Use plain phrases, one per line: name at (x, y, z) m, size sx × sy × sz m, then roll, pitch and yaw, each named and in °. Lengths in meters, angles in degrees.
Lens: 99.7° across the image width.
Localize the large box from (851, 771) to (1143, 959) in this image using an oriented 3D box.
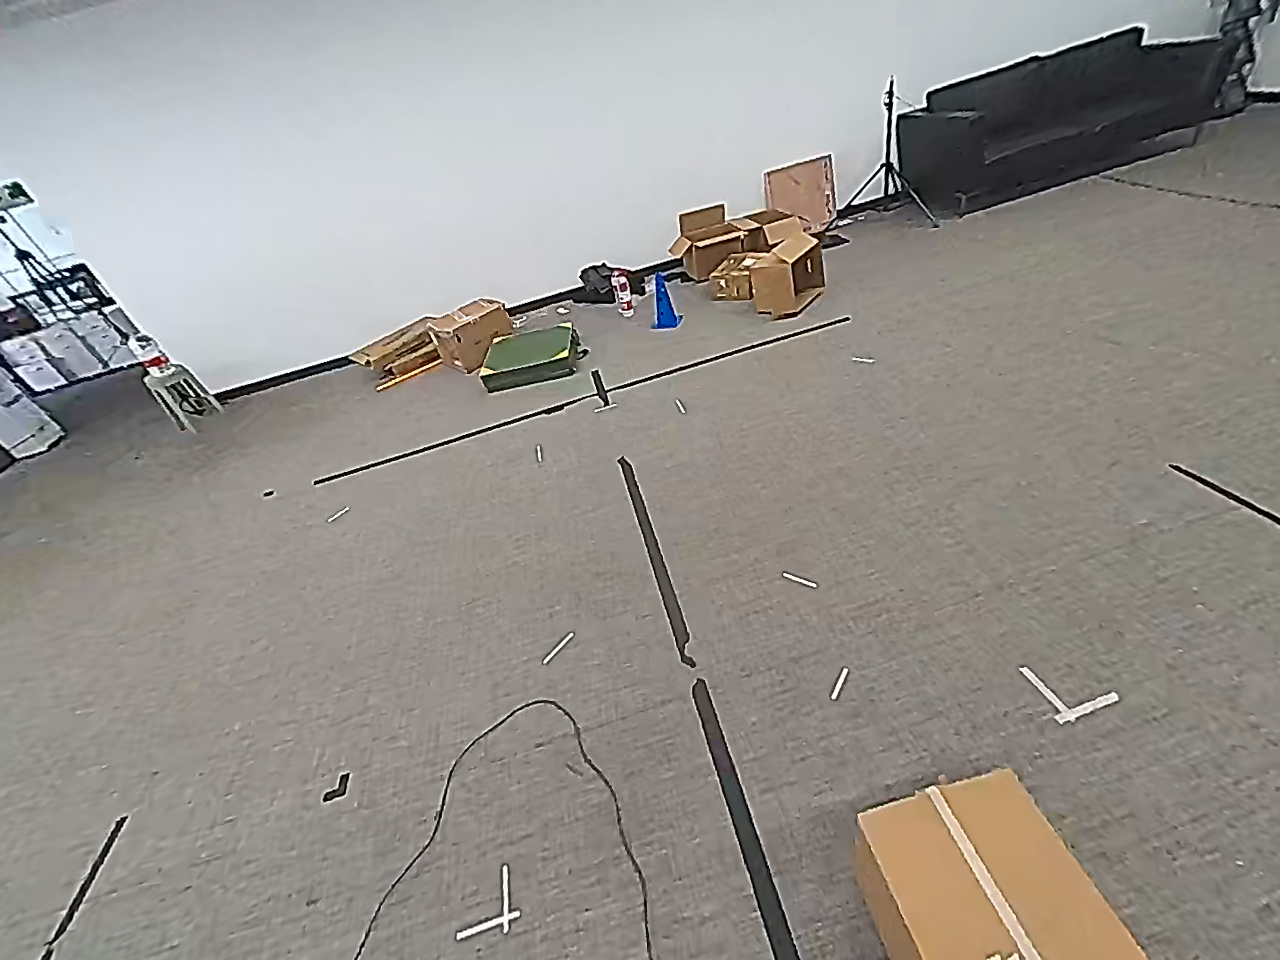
large box at (0.624, 0.828, 0.971) m, size 0.320 × 0.320 × 0.408 m, roll -17°, pitch 38°, yaw -1°
